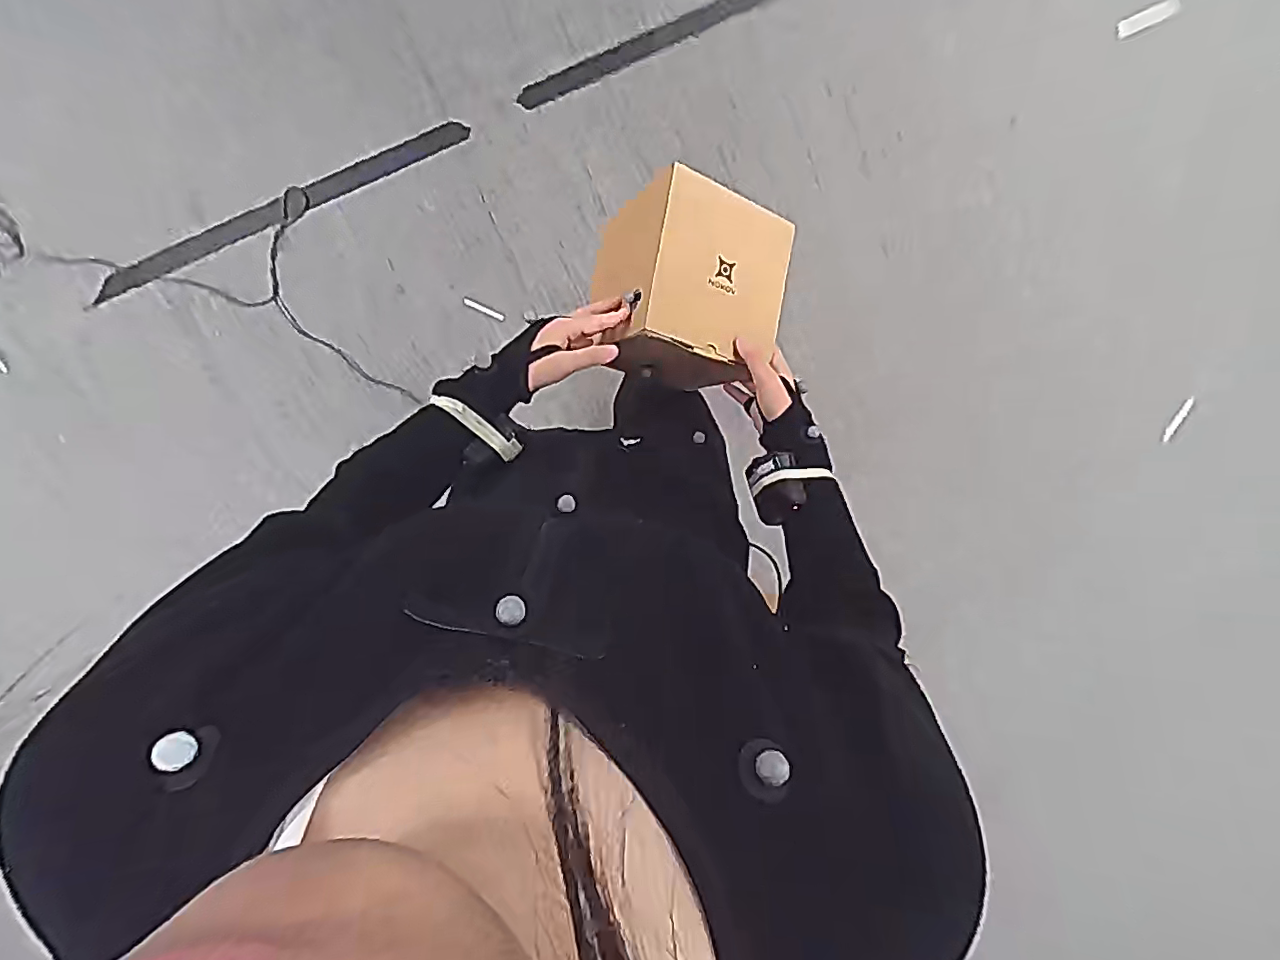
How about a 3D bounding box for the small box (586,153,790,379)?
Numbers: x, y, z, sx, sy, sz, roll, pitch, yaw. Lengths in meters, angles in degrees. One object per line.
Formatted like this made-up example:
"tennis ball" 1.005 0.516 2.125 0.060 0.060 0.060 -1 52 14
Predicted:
"small box" 0.049 -0.230 0.637 0.168 0.176 0.179 10 88 -28
